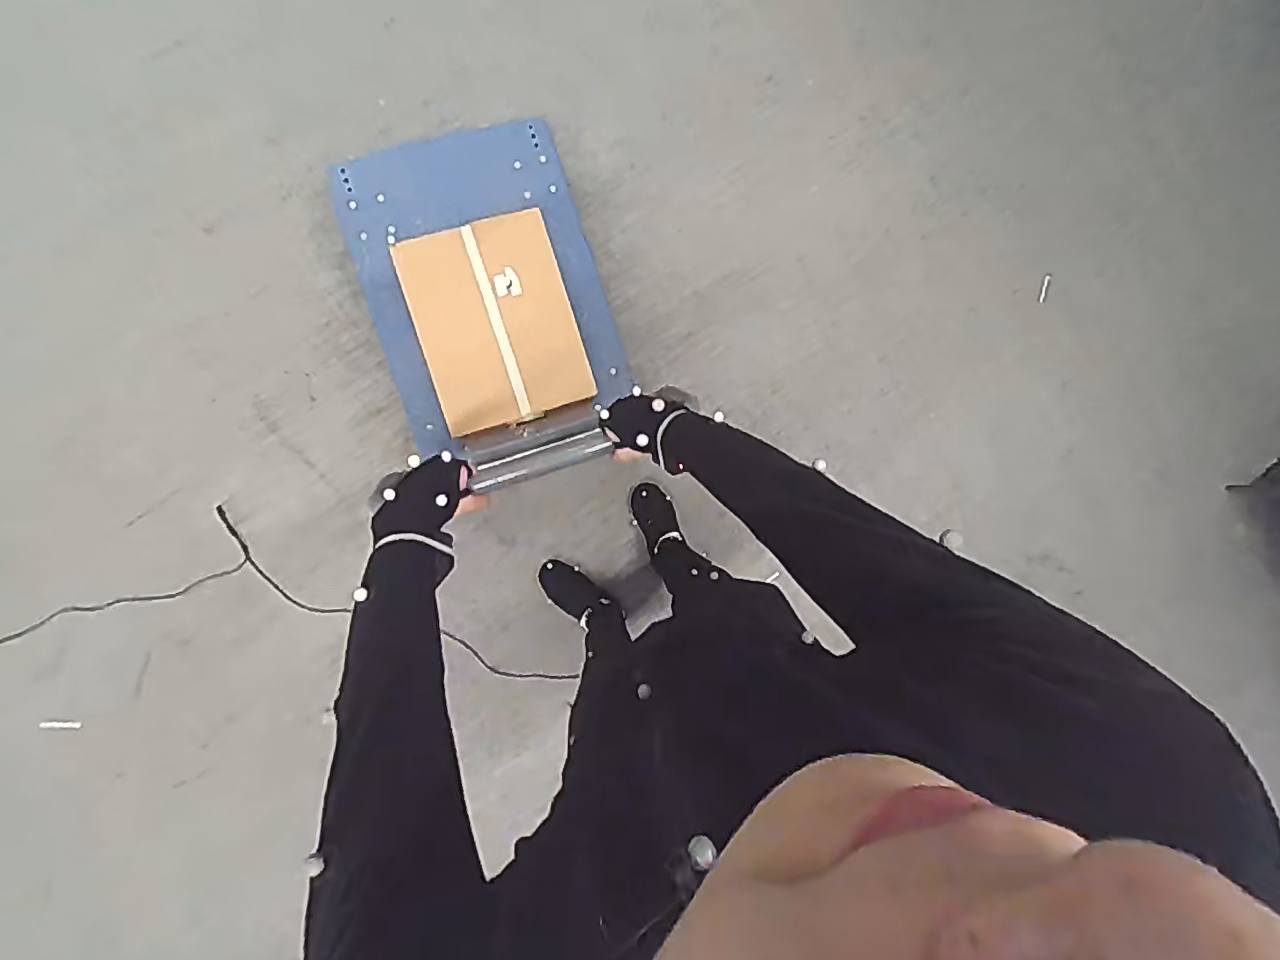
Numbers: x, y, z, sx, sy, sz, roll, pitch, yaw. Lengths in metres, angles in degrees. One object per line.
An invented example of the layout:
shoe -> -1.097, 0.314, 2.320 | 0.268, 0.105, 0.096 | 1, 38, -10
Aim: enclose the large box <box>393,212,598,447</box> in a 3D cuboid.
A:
large box -> -0.310, -0.321, 1.255 | 0.320, 0.320, 0.408 | -18, 91, -9
